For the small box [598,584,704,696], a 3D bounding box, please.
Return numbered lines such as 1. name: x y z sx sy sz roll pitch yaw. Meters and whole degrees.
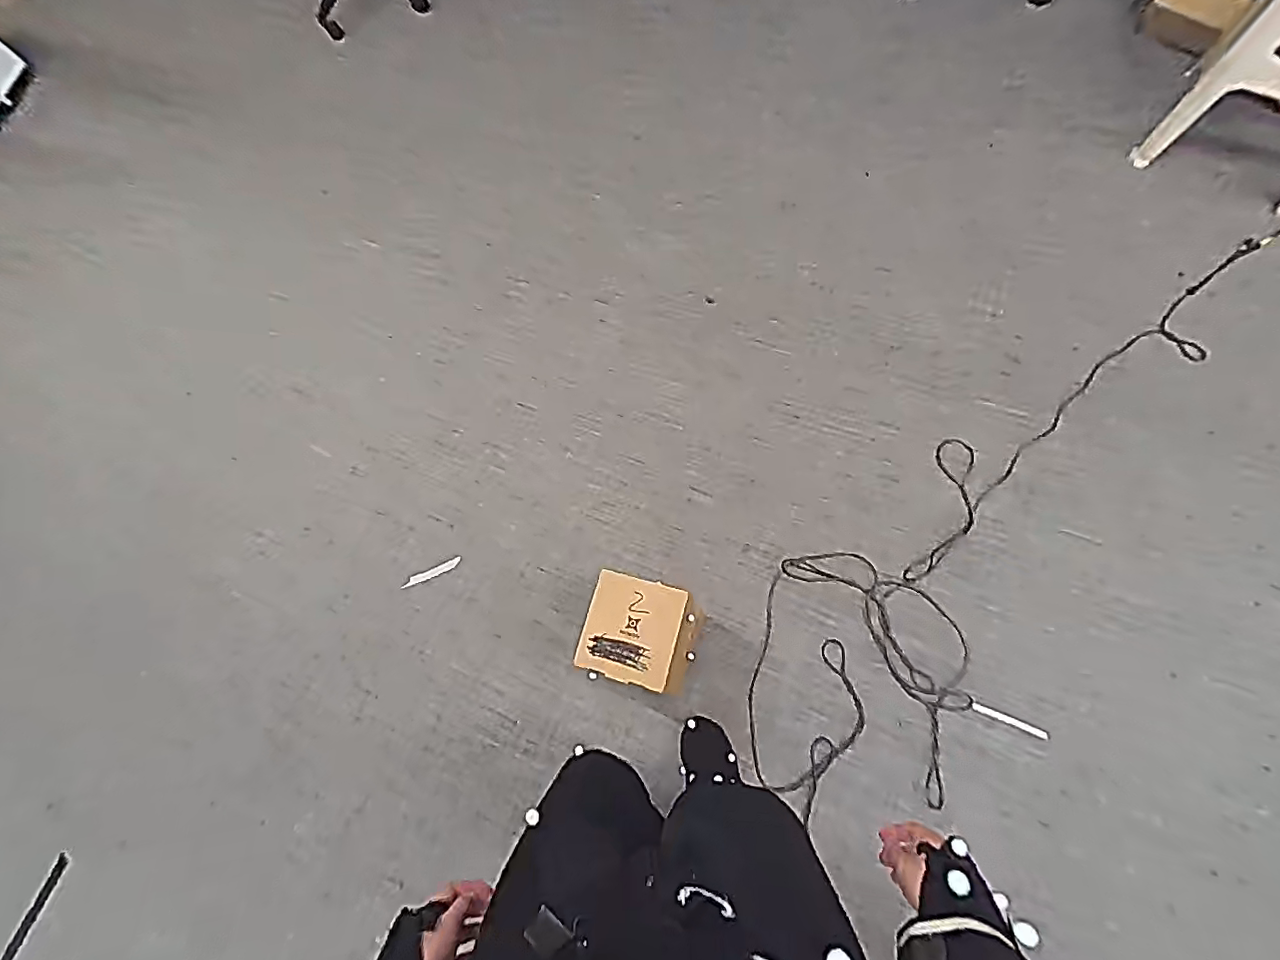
1. small box: 0.033 0.343 1.162 0.168 0.176 0.179 17 76 15
